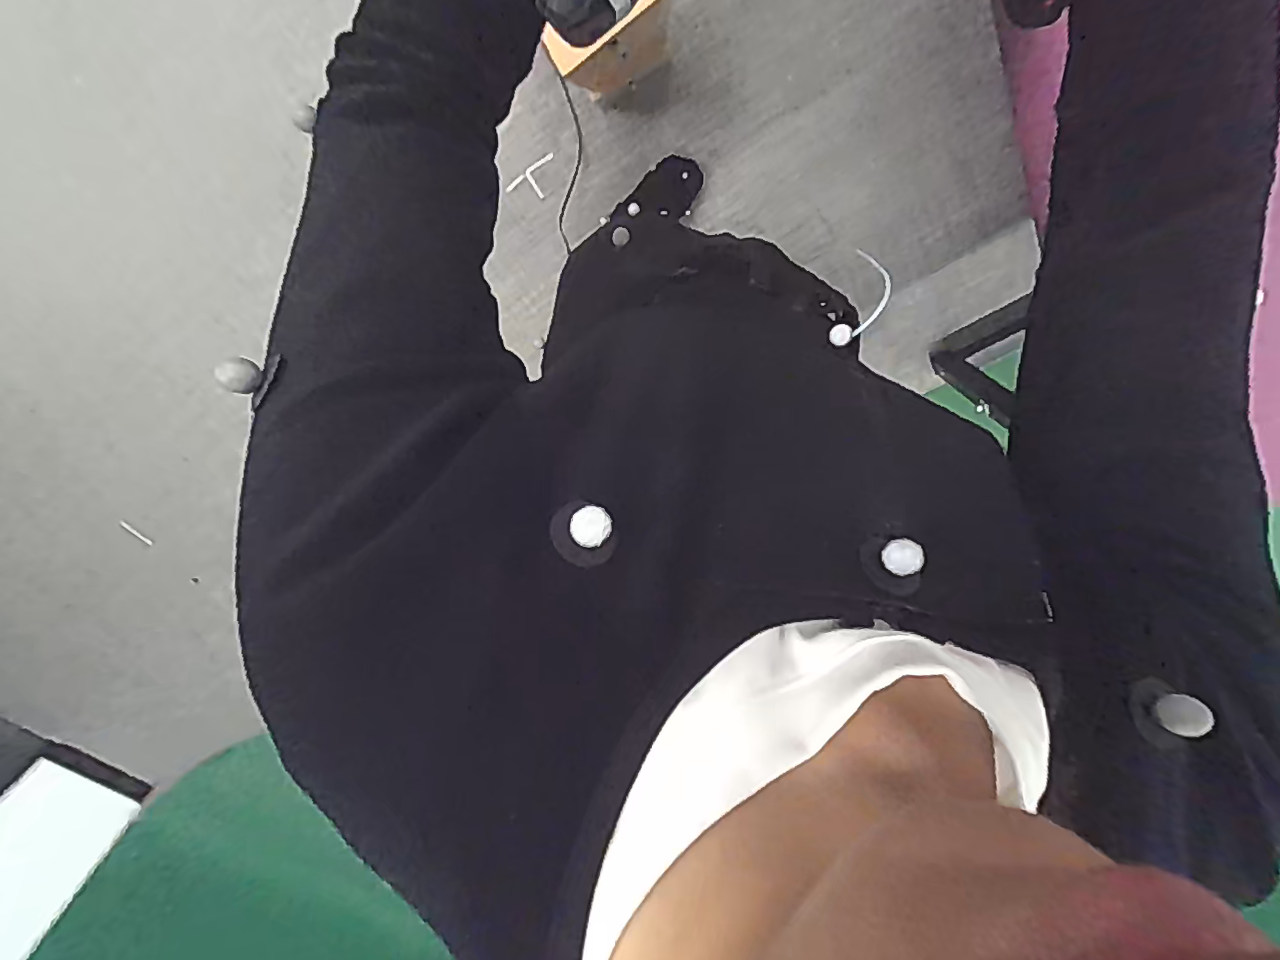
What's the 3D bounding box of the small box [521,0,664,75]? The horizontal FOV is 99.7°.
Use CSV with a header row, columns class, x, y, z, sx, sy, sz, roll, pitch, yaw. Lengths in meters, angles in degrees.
class,x,y,z,sx,sy,sz,roll,pitch,yaw
small box,-0.074,-0.690,0.732,0.179,0.176,0.168,-26,118,19
